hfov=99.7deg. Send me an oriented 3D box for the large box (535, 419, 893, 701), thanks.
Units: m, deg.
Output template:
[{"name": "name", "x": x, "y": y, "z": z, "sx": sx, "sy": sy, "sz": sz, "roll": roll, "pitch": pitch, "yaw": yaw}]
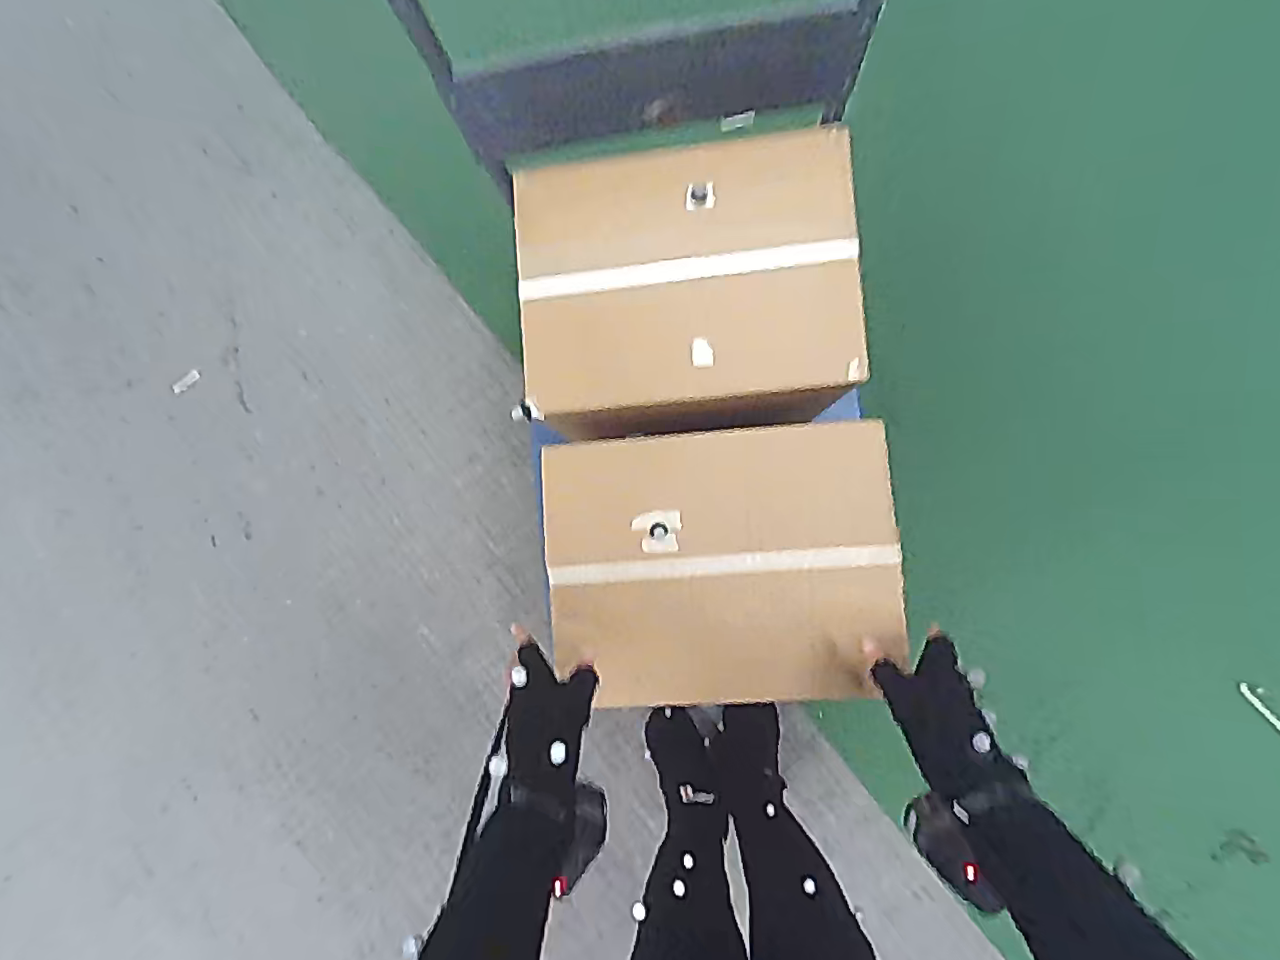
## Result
[{"name": "large box", "x": 0.096, "y": 0.103, "z": 0.782, "sx": 0.408, "sy": 0.320, "sz": 0.320, "roll": -4, "pitch": 86, "yaw": 6}]
